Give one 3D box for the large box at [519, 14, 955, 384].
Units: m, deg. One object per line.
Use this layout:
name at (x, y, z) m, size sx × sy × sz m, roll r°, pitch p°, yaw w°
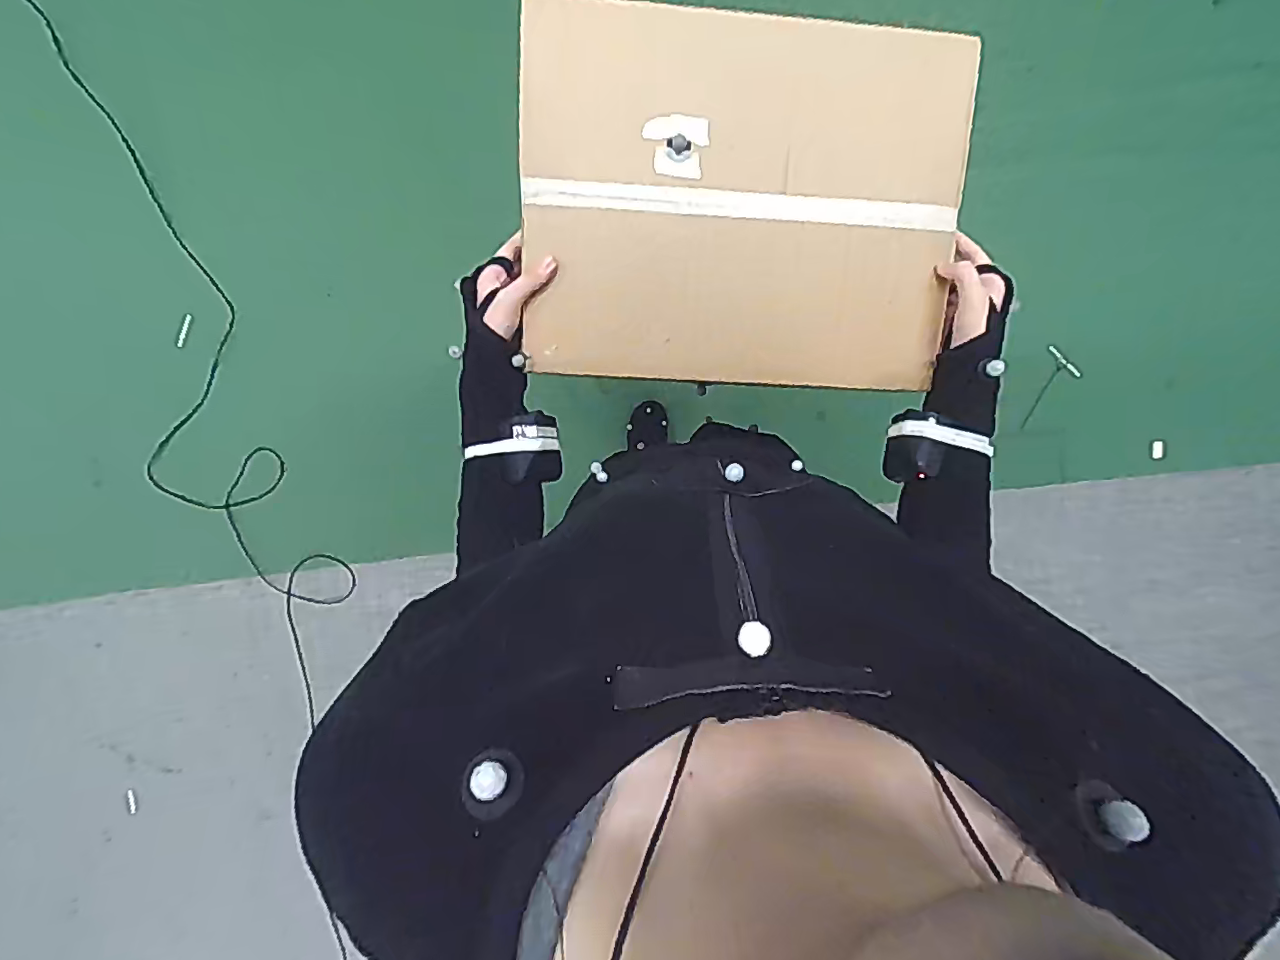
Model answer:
large box at (0.081, -0.283, 0.657) m, size 0.408 × 0.320 × 0.320 m, roll 2°, pitch 100°, yaw -4°
